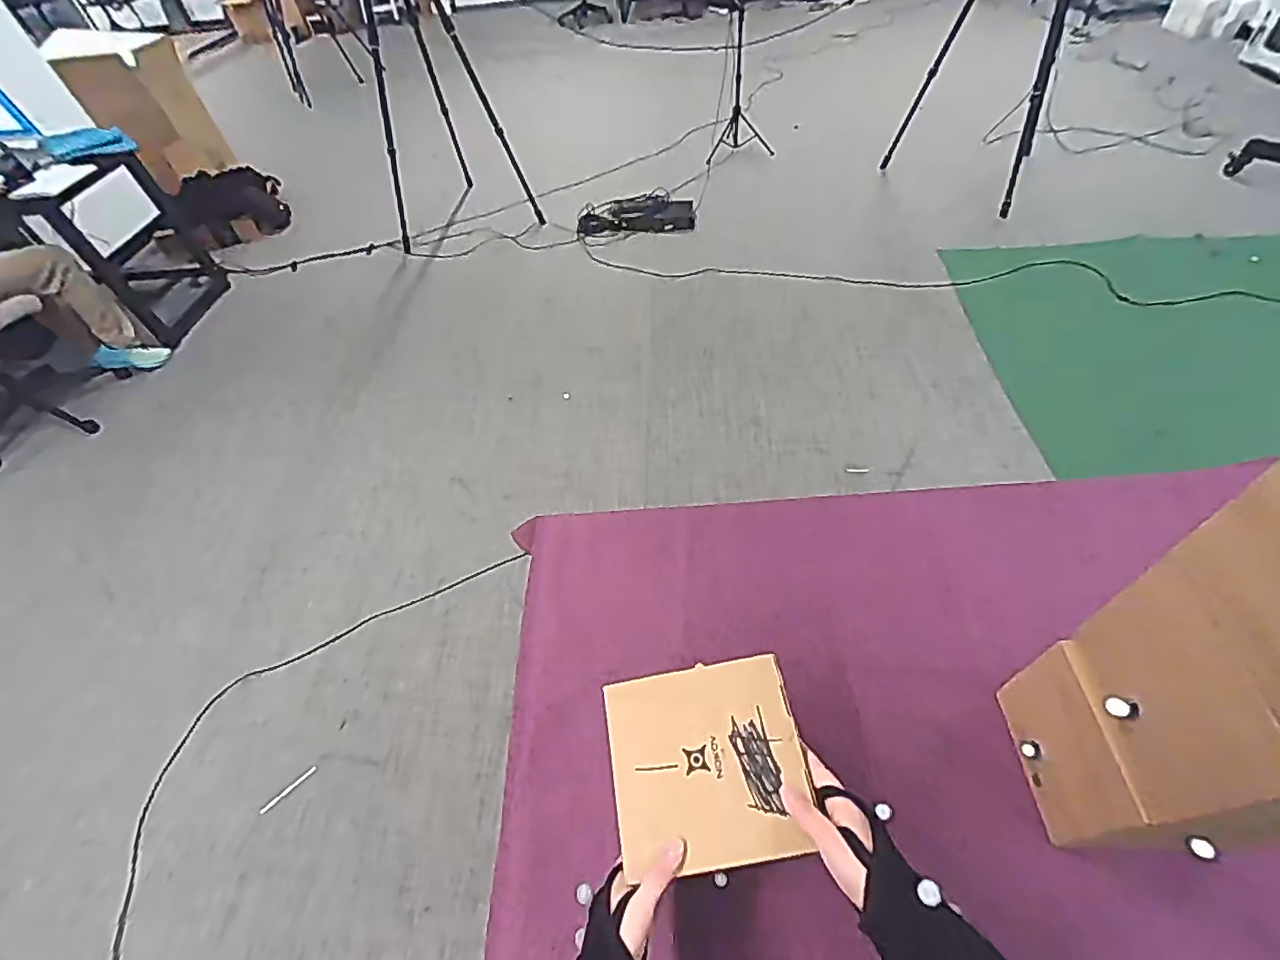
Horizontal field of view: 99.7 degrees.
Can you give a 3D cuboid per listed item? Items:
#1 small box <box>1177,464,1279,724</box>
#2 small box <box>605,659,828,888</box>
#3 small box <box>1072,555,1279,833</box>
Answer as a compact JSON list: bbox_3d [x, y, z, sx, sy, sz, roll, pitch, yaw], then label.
[{"bbox_3d":[0.491,0.075,0.311,0.168,0.176,0.179,-1,50,7],"label":"small box"},{"bbox_3d":[0.071,0.300,0.558,0.179,0.176,0.168,-12,56,2],"label":"small box"},{"bbox_3d":[0.508,0.179,0.438,0.168,0.176,0.179,1,51,7],"label":"small box"}]
